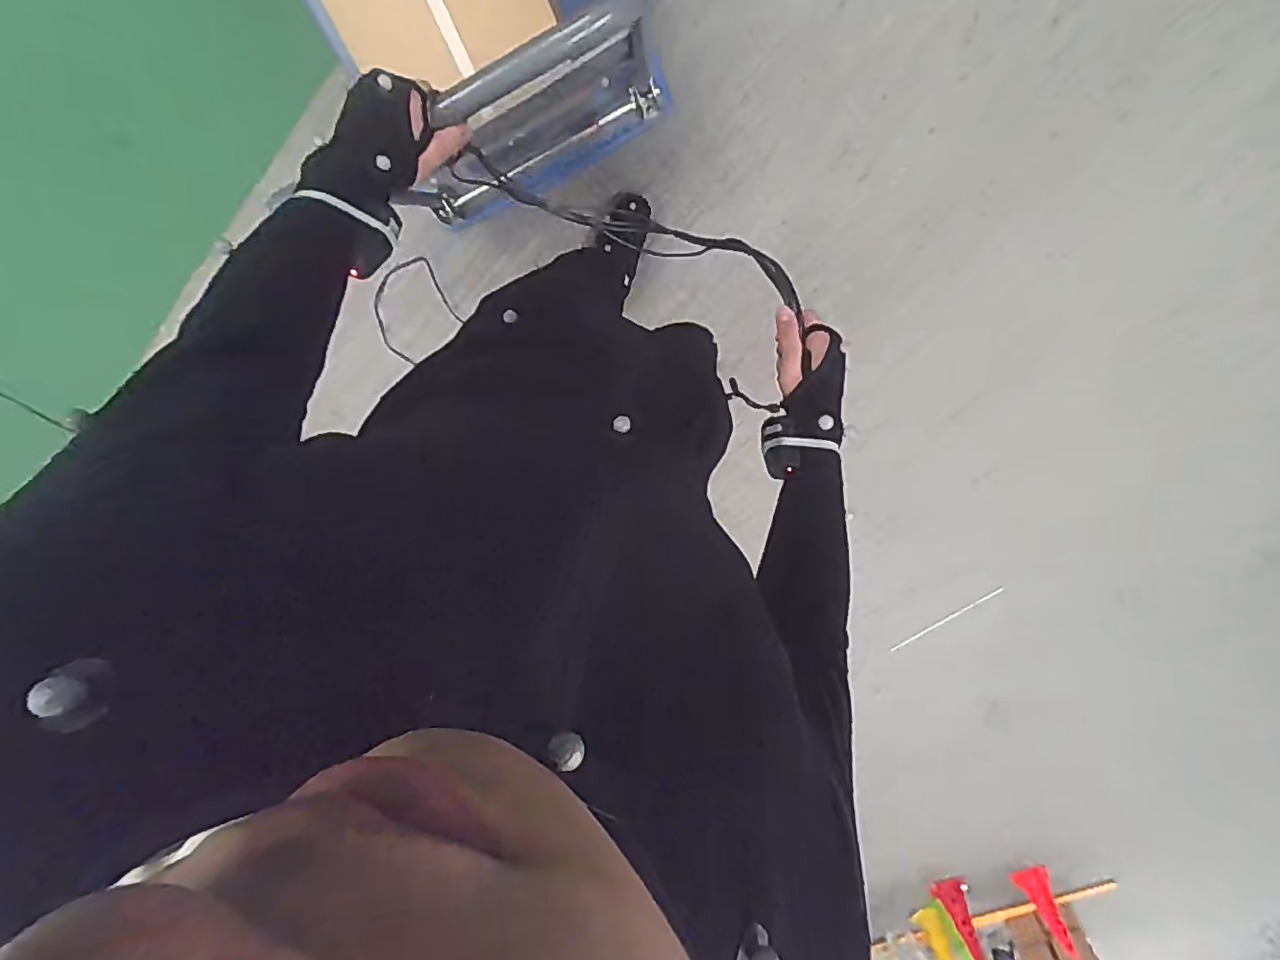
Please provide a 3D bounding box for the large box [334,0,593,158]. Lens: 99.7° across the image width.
[{"bbox_3d":[-0.312,-0.832,0.919,0.320,0.320,0.408,-21,117,10],"label":"large box"}]
